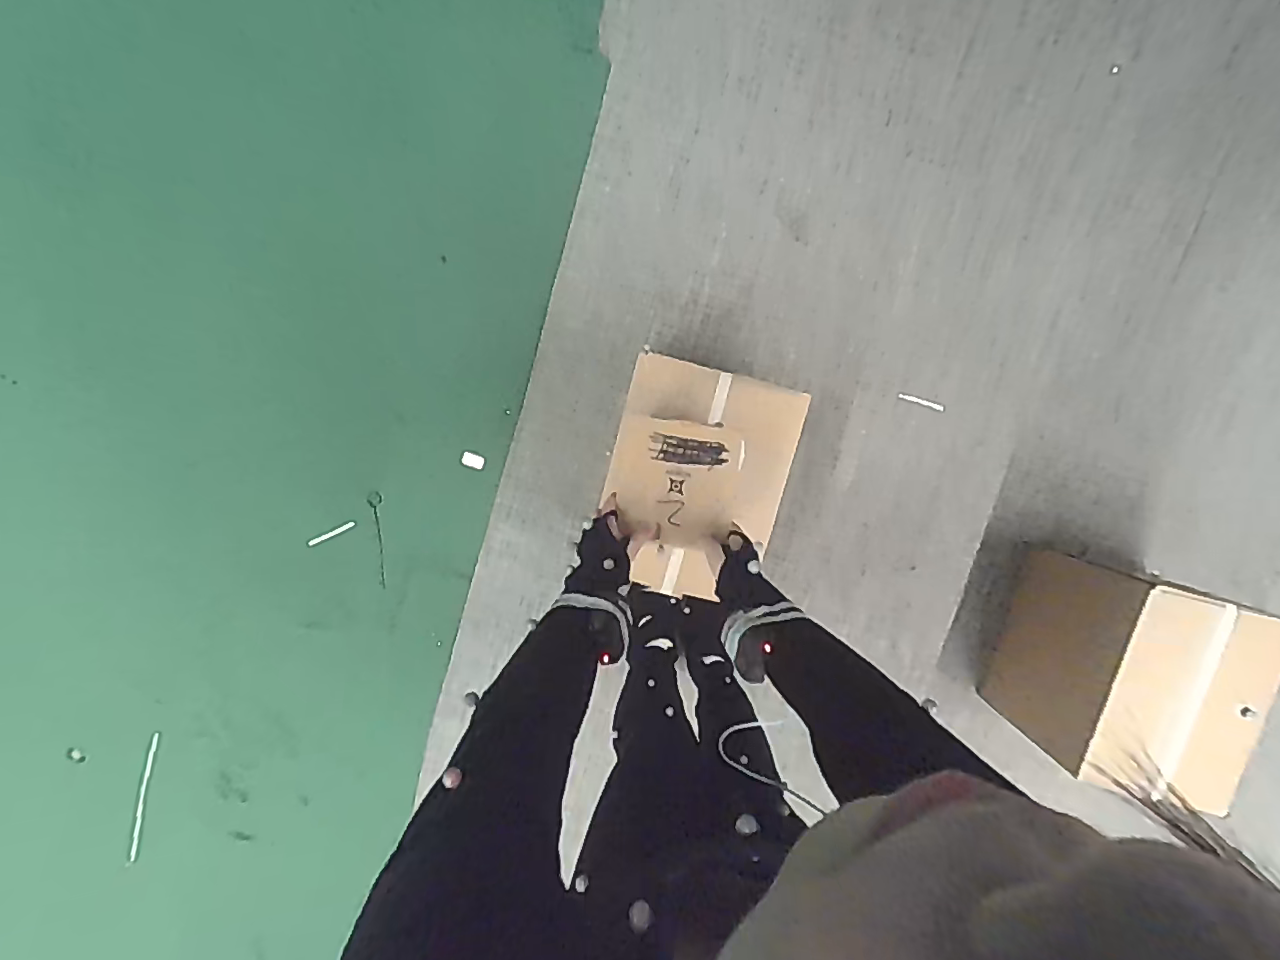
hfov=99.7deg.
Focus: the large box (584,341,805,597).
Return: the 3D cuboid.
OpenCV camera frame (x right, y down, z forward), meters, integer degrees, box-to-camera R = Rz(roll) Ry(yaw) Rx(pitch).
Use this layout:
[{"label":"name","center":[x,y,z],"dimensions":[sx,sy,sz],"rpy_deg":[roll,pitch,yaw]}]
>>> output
[{"label":"large box","center":[0.092,-0.029,1.096],"dimensions":[0.320,0.320,0.408],"rpy_deg":[15,97,-2]}]
